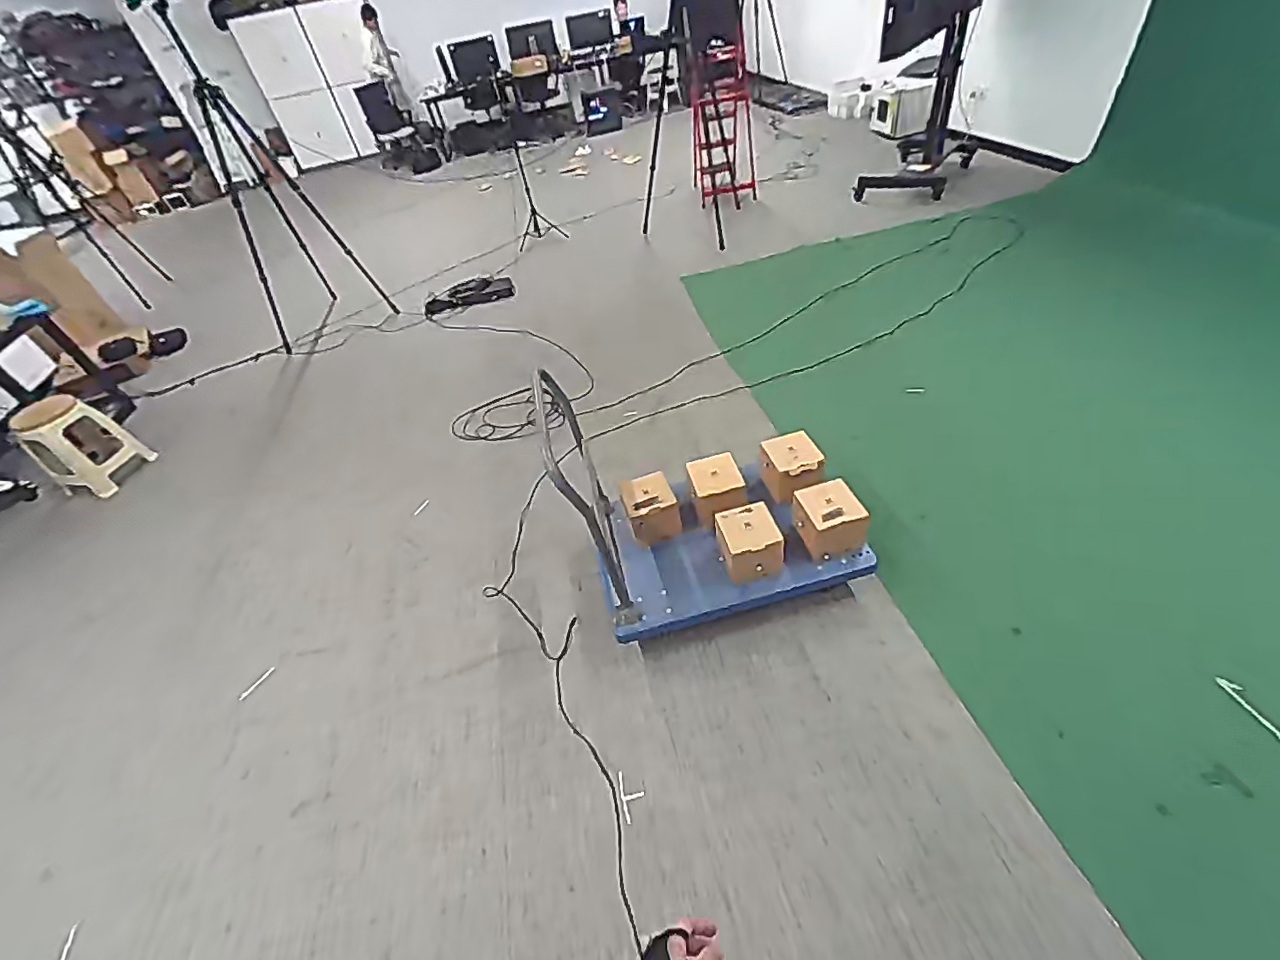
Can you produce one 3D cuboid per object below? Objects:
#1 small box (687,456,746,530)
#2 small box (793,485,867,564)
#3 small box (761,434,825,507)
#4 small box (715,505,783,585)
[{"bbox_3d":[0.270,0.047,1.910,0.168,0.176,0.179,-15,45,-3],"label":"small box"},{"bbox_3d":[0.607,0.151,1.743,0.168,0.176,0.179,-15,43,-3],"label":"small box"},{"bbox_3d":[0.538,-0.032,1.924,0.168,0.176,0.179,-16,43,-2],"label":"small box"},{"bbox_3d":[0.346,0.212,1.717,0.168,0.176,0.179,-14,43,-2],"label":"small box"}]
